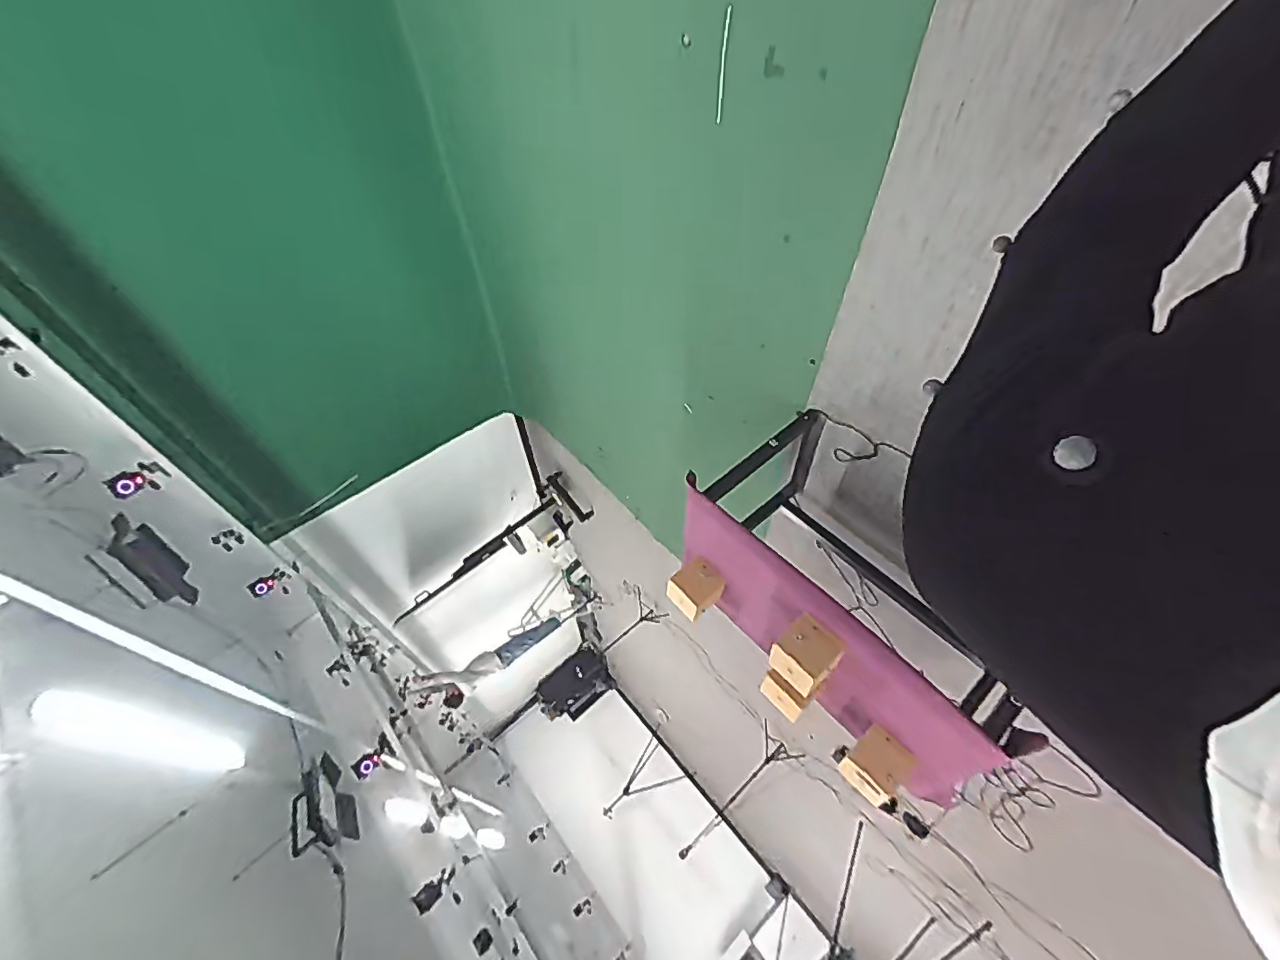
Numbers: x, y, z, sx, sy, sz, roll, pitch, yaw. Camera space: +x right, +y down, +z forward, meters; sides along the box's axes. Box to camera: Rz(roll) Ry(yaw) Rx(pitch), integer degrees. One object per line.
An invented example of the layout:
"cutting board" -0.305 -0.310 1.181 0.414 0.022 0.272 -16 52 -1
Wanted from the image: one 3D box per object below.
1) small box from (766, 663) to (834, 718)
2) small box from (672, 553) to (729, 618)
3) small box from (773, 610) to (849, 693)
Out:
"small box" 0.597 0.747 2.020 0.168 0.176 0.179 42 154 30
"small box" 0.254 0.440 2.263 0.168 0.176 0.179 43 155 24
"small box" 0.572 0.568 1.806 0.168 0.176 0.179 41 156 32
